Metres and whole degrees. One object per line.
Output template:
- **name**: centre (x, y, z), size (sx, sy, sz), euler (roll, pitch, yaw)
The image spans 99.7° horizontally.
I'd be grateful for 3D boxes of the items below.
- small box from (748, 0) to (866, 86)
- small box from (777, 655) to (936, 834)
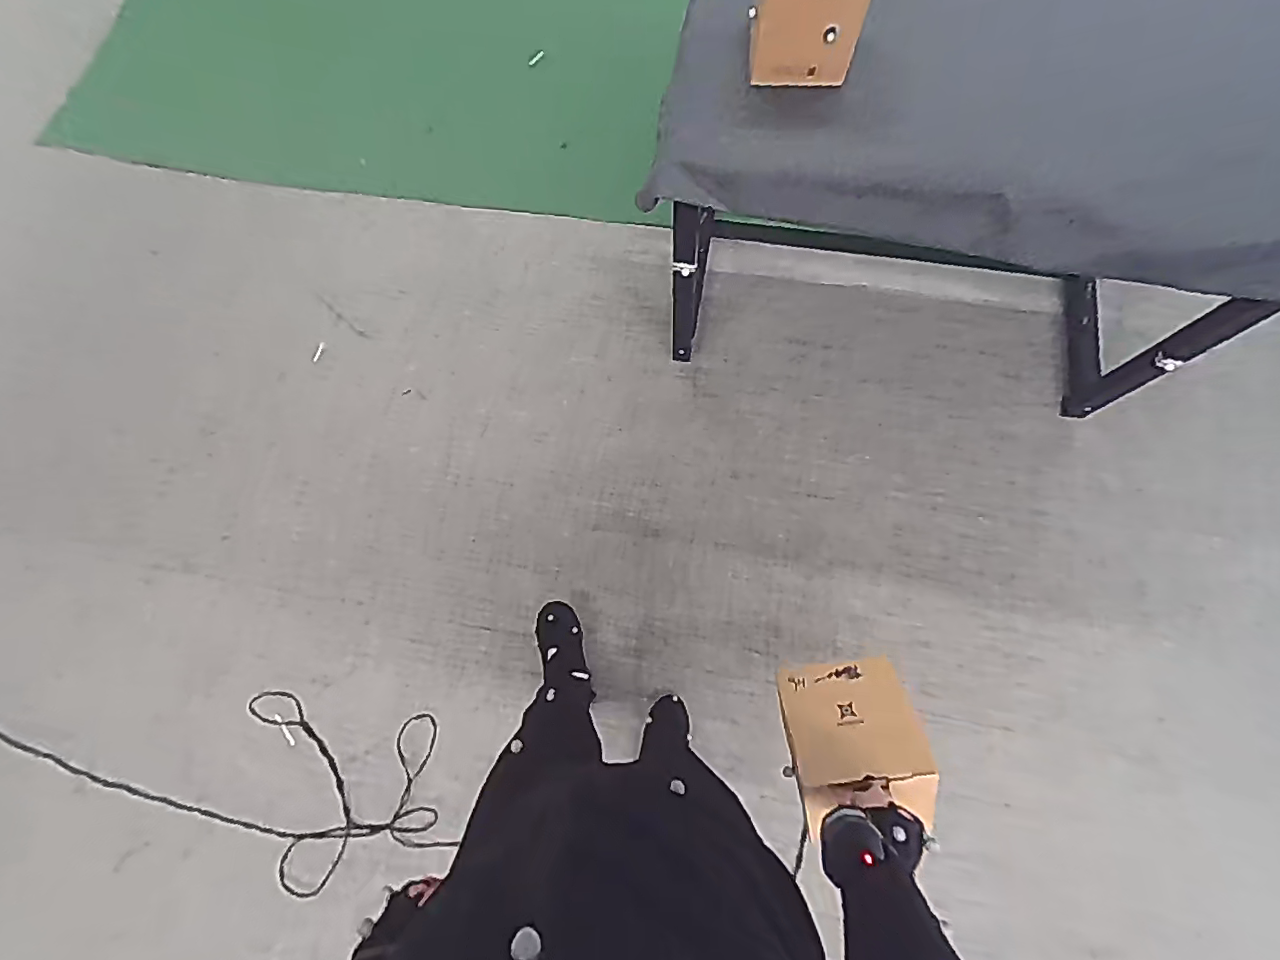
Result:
- **small box**: centre (0.282, -0.812, 0.922), size (0.168, 0.176, 0.179), euler (3, 73, 1)
- **small box**: centre (0.304, 0.385, 0.780), size (0.168, 0.176, 0.179), euler (-11, 34, 8)
